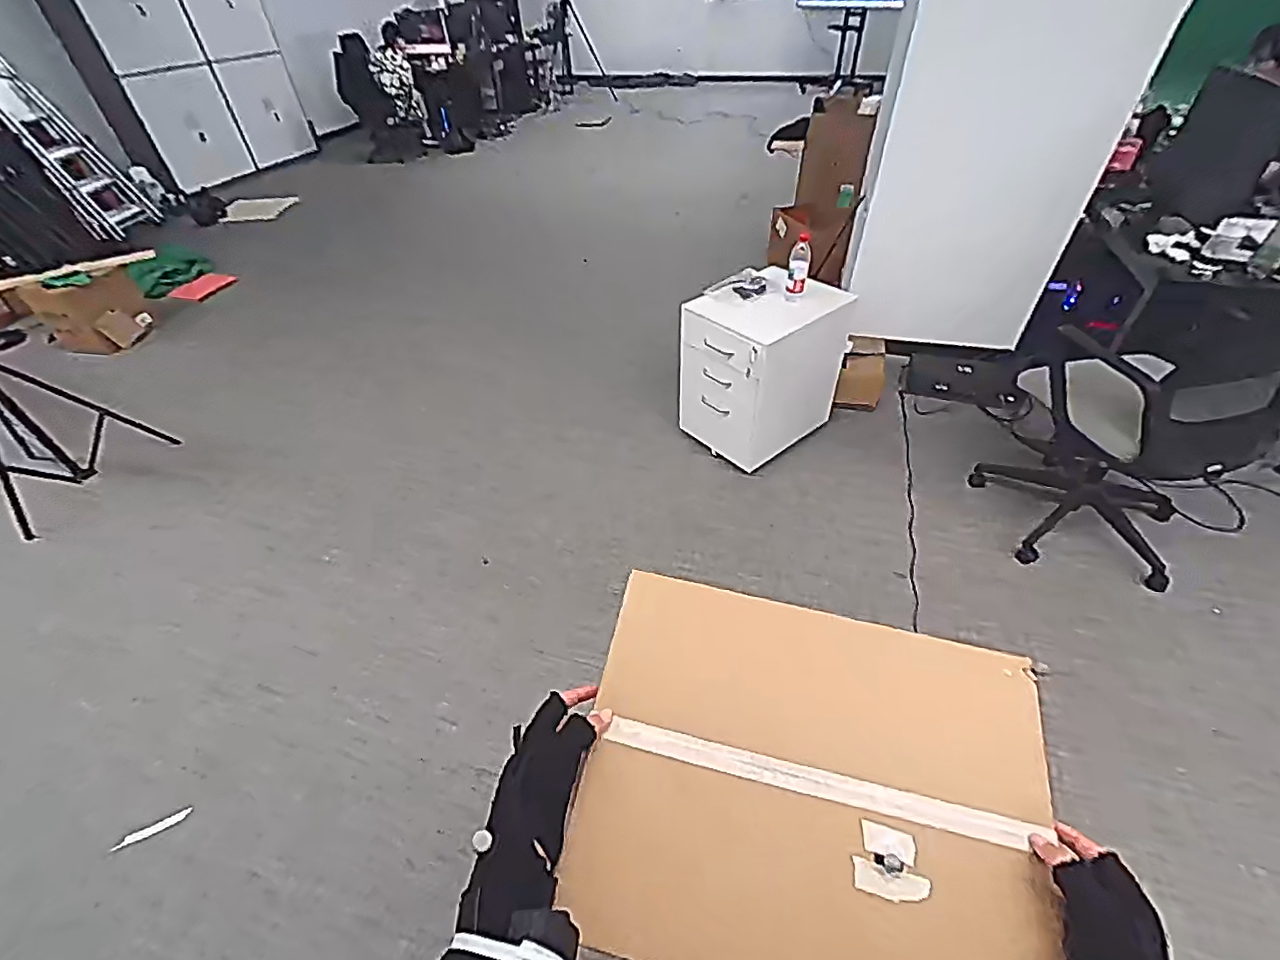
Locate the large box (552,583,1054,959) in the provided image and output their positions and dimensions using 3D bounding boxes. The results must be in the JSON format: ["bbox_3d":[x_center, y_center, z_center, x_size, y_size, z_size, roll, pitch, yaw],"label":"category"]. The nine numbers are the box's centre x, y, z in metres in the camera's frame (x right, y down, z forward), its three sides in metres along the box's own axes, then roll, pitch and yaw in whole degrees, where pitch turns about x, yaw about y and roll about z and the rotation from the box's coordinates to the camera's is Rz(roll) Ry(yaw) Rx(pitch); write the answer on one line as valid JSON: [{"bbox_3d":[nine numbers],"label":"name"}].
[{"bbox_3d":[0.152,0.352,0.618,0.408,0.320,0.320,11,60,8],"label":"large box"}]
